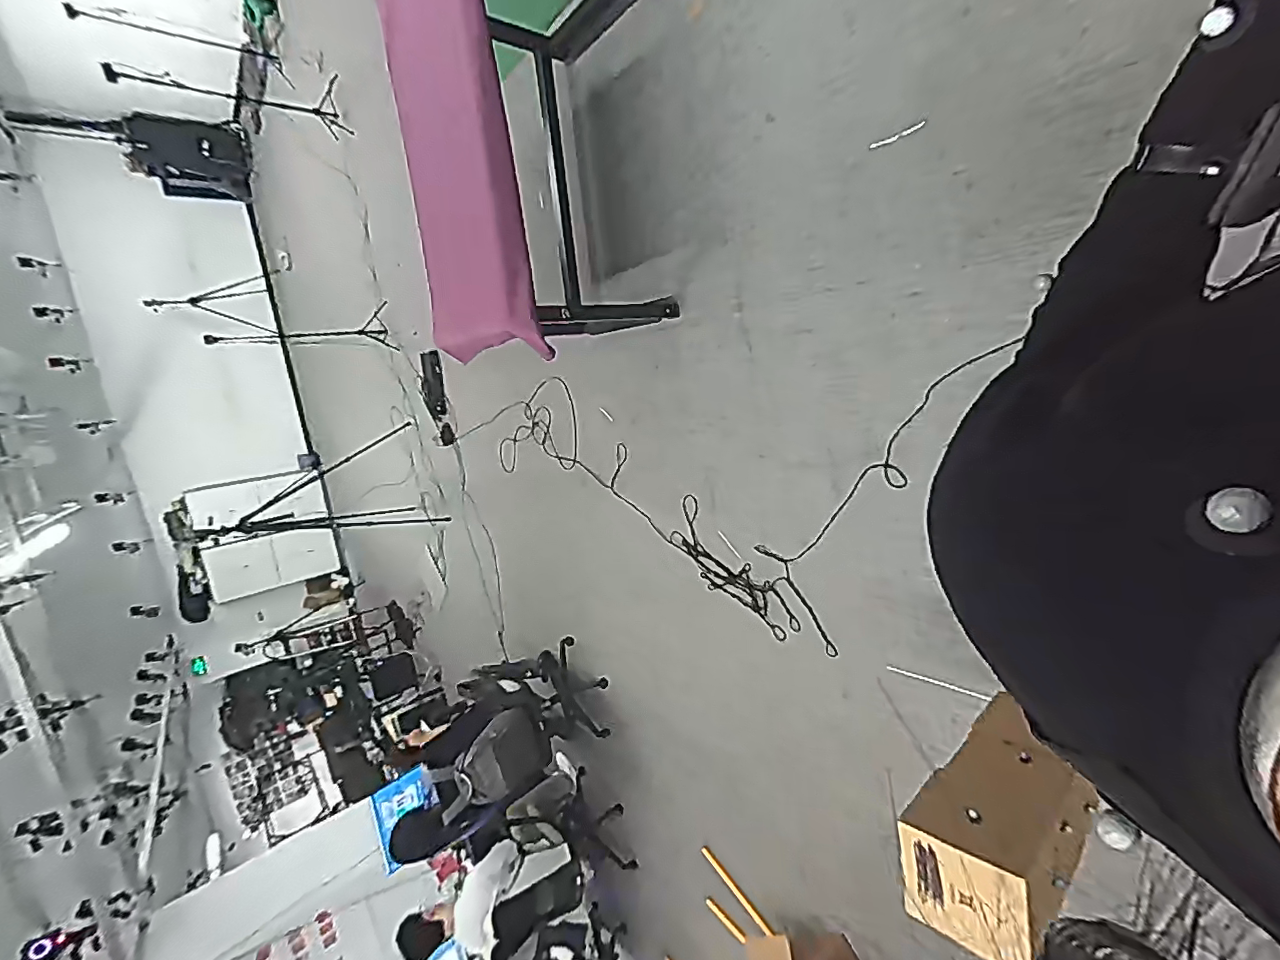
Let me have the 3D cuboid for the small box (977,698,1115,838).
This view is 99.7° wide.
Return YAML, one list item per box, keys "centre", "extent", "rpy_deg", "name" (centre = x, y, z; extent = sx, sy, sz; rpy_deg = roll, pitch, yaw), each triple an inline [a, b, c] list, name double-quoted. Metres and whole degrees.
- centre: [0.788, 0.551, 1.051]
  extent: [0.179, 0.176, 0.168]
  rpy_deg: [1, 102, 52]
  name: "small box"

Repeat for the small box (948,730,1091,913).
- centre: [0.666, 0.580, 0.946]
  extent: [0.168, 0.176, 0.179]
  rpy_deg: [1, 101, 51]
  name: "small box"
